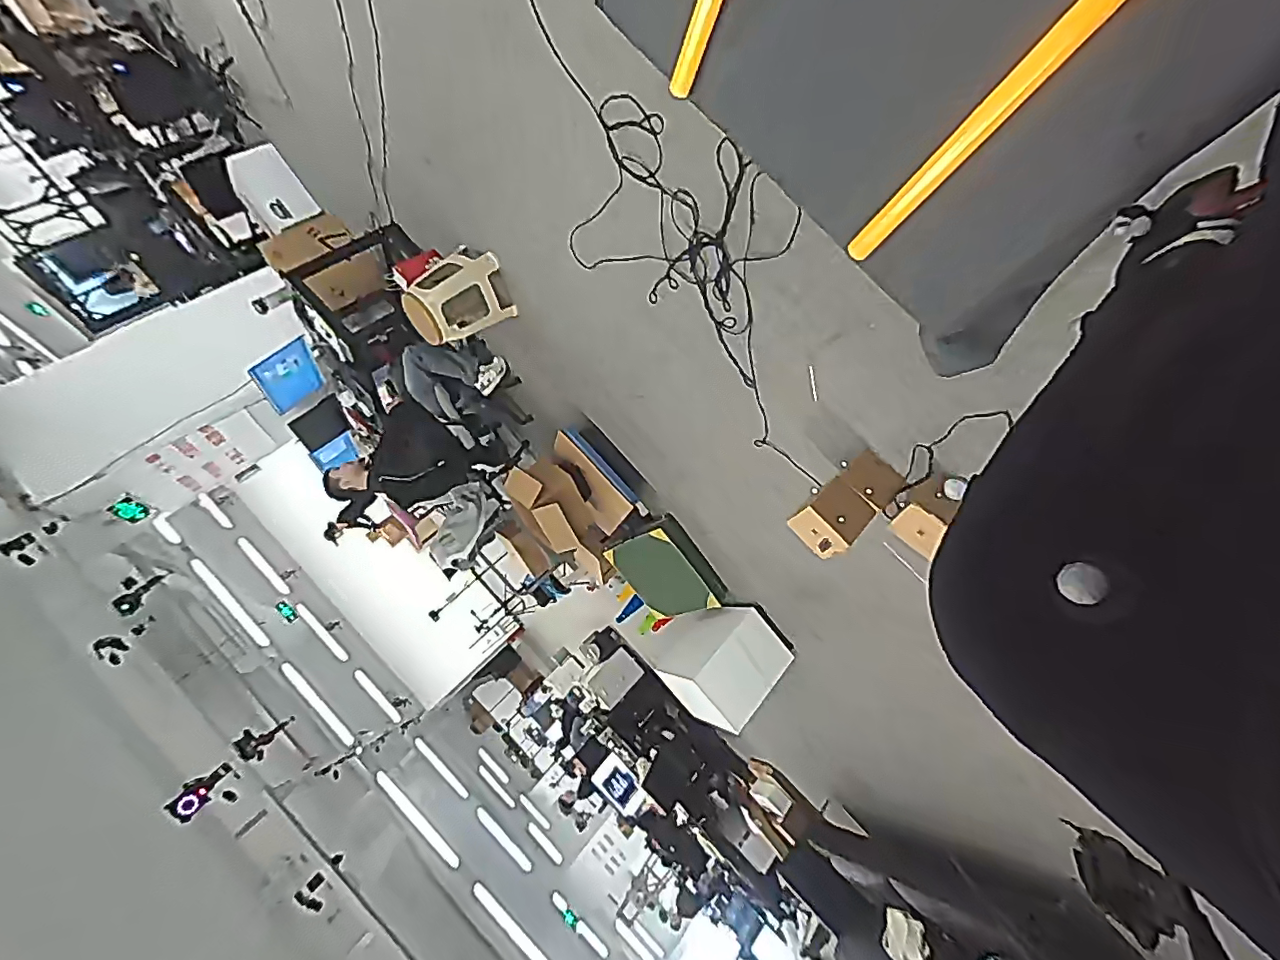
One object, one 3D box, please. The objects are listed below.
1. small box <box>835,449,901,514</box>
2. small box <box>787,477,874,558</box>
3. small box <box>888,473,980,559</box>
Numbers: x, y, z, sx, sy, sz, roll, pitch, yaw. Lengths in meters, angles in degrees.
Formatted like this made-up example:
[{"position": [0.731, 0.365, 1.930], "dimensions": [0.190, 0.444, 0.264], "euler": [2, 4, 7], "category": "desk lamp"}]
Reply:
[{"position": [0.747, 0.028, 1.836], "dimensions": [0.168, 0.176, 0.179], "euler": [43, 155, 12], "category": "small box"}, {"position": [0.627, 0.122, 1.773], "dimensions": [0.179, 0.176, 0.168], "euler": [46, 154, 8], "category": "small box"}, {"position": [0.918, 0.108, 1.684], "dimensions": [0.168, 0.176, 0.179], "euler": [41, 155, 18], "category": "small box"}]
